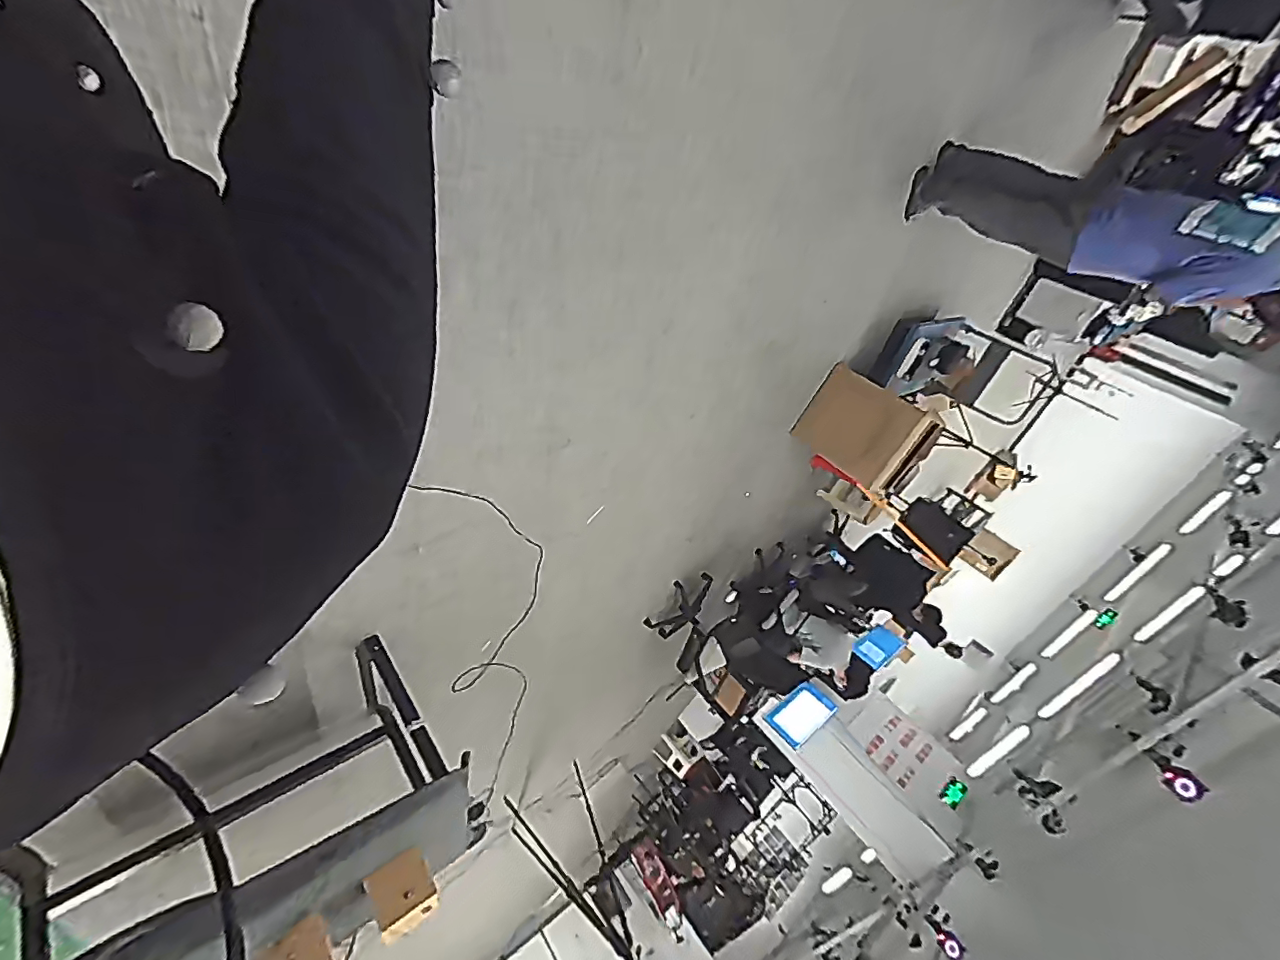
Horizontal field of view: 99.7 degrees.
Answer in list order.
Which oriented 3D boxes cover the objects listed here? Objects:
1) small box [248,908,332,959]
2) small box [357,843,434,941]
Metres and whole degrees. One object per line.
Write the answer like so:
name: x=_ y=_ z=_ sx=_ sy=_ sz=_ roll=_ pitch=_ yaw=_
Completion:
small box: x=-1.007 y=1.397 z=1.566 sx=0.168 sy=0.176 sz=0.179 roll=-20 pitch=139 yaw=-38
small box: x=-0.788 y=1.323 z=1.746 sx=0.179 sy=0.176 sz=0.168 roll=-20 pitch=139 yaw=-36
